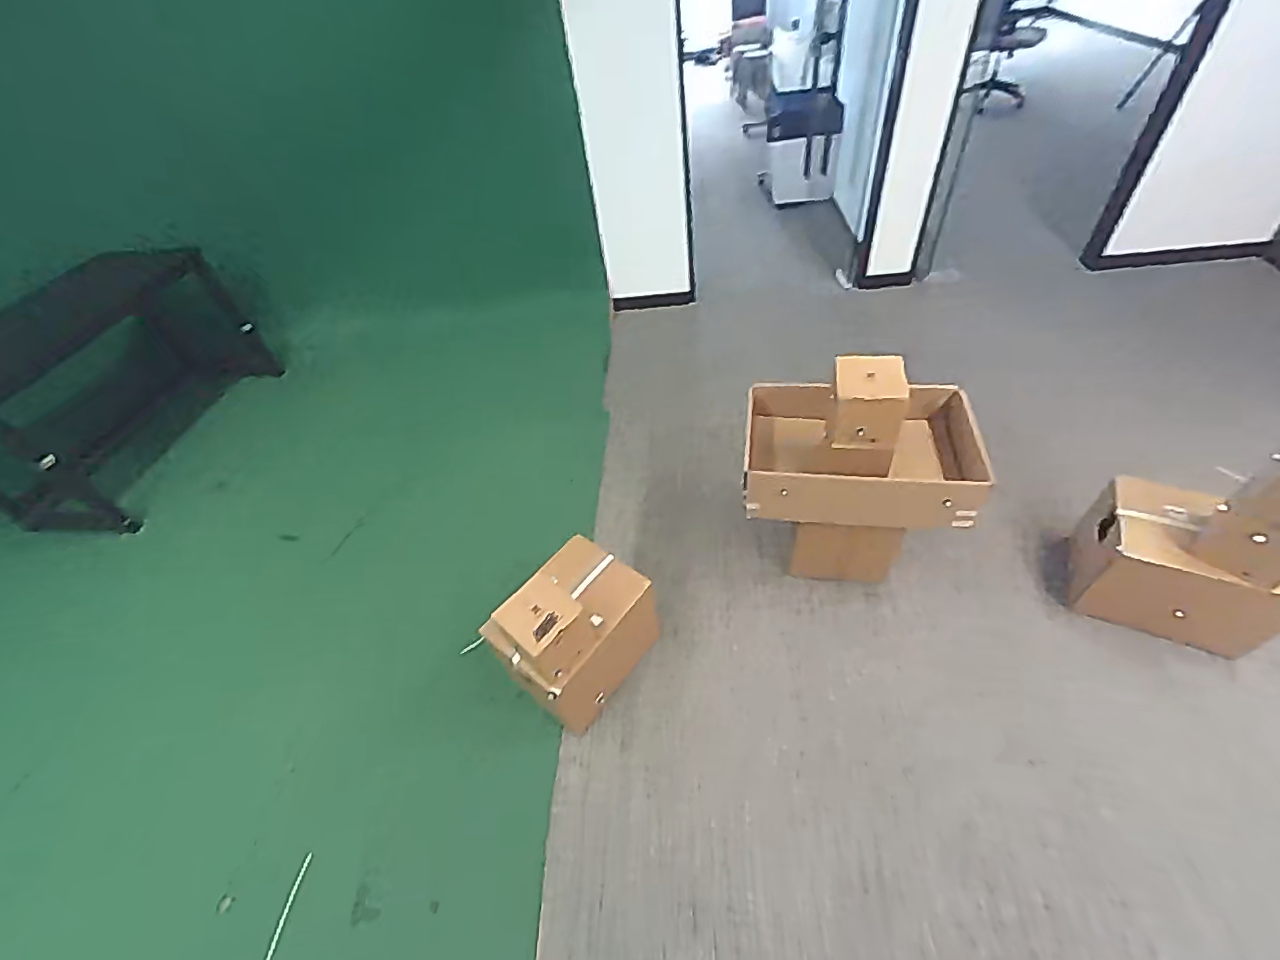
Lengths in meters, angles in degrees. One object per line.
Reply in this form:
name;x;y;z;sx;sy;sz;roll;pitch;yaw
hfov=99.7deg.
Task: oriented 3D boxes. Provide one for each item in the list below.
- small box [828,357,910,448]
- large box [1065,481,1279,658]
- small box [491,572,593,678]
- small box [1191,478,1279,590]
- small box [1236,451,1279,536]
small box;0.597;-0.206;1.432;0.168;0.176;0.179;3;49;13
large box;1.534;0.254;1.565;0.408;0.320;0.320;15;51;23
small box;-0.241;0.375;1.373;0.179;0.176;0.168;30;57;31
small box;1.532;0.134;1.339;0.179;0.176;0.168;-38;53;-24
small box;1.516;0.024;1.216;0.179;0.176;0.168;-40;53;-23
